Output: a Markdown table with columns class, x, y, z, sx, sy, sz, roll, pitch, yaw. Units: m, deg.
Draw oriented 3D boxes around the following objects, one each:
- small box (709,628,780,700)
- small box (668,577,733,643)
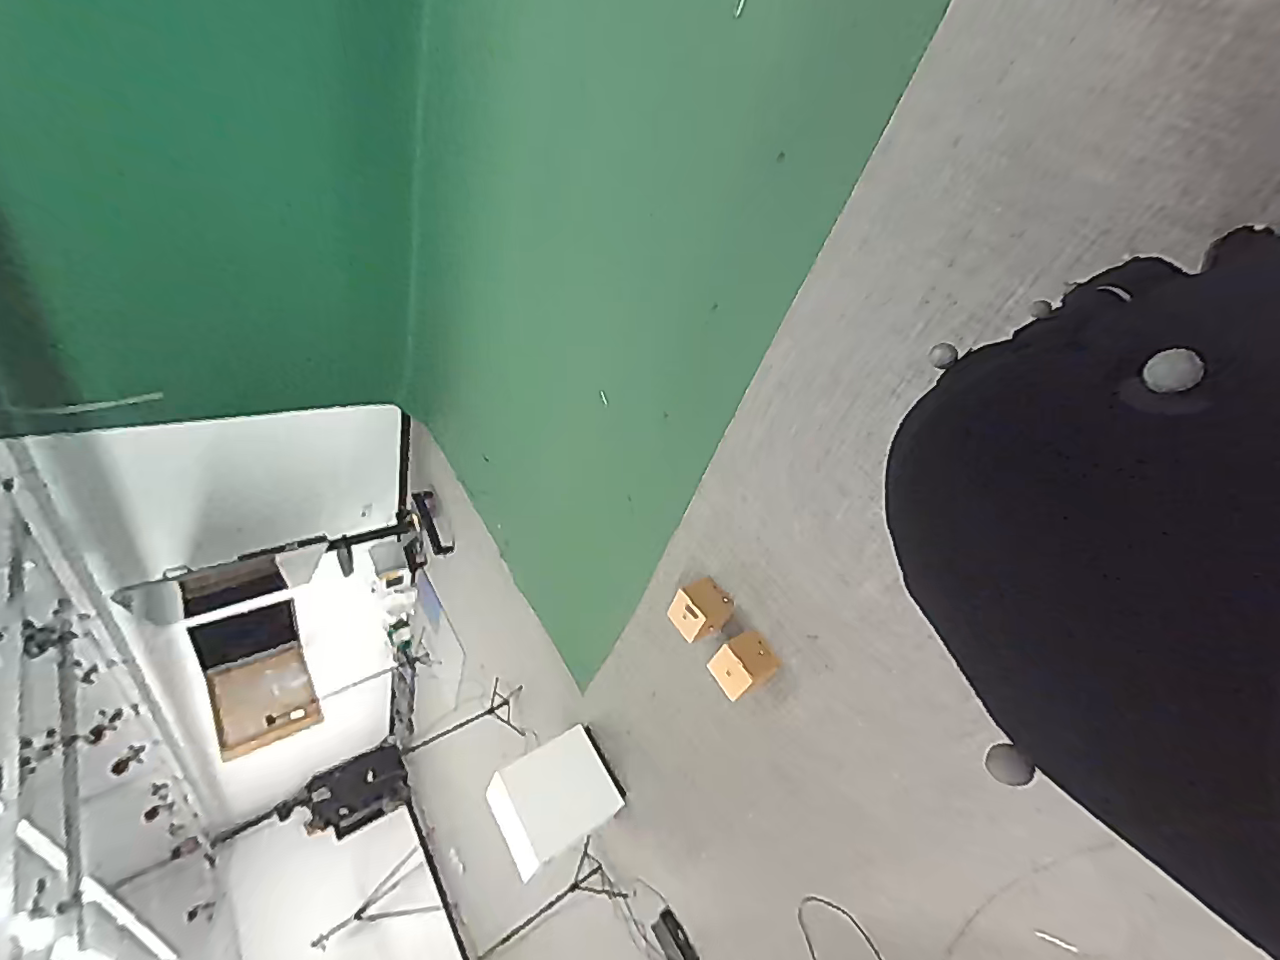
| class | x | y | z | sx | sy | sz | roll | pitch | yaw |
| --- | --- | --- | --- | --- | --- | --- | --- | --- | --- |
| small box | 0.399 | 0.697 | 2.054 | 0.168 | 0.176 | 0.179 | 51 | 135 | 30 |
| small box | 0.250 | 0.519 | 2.190 | 0.168 | 0.176 | 0.179 | 49 | 135 | 32 |
